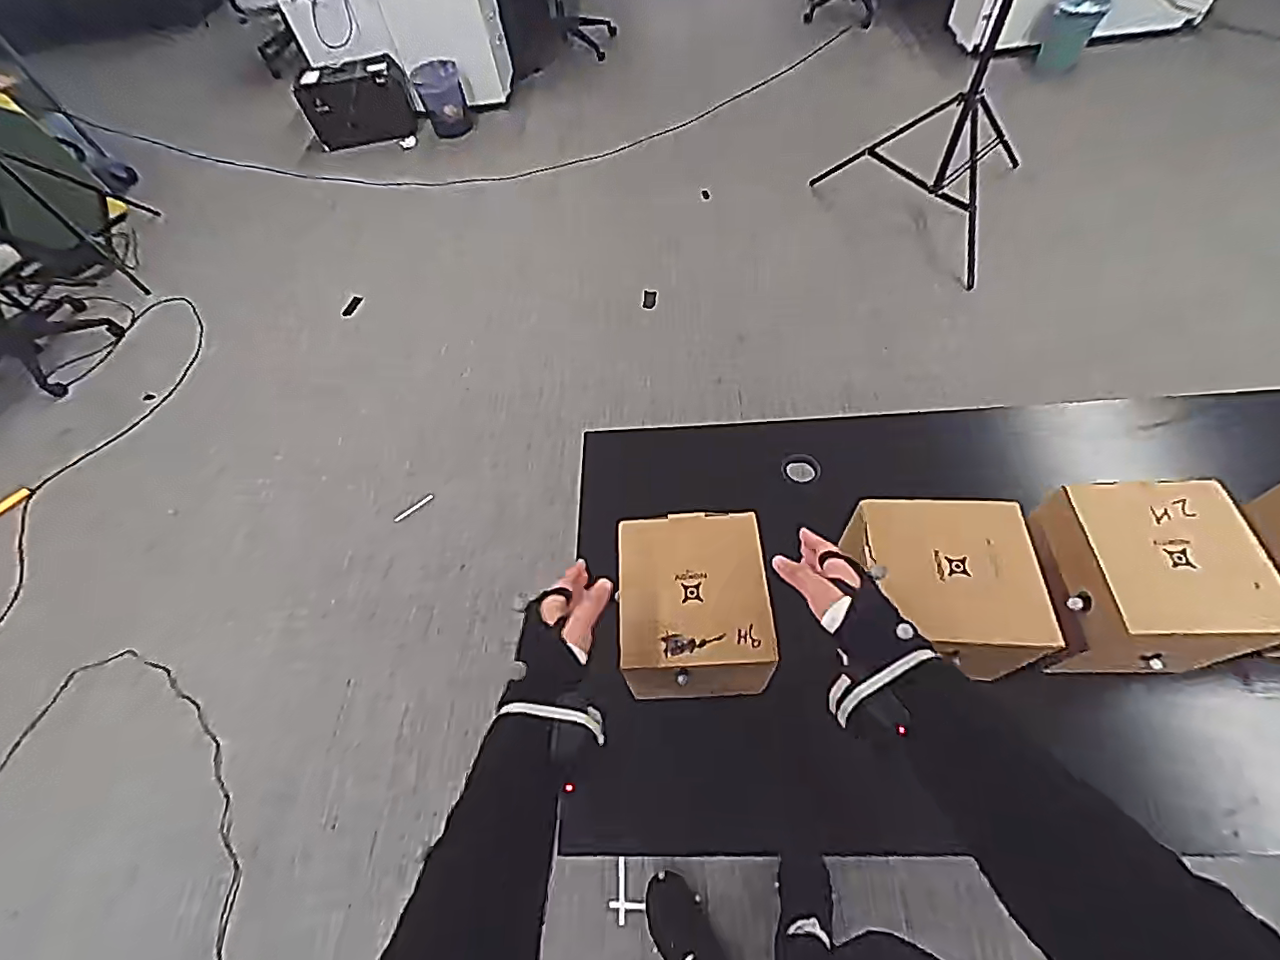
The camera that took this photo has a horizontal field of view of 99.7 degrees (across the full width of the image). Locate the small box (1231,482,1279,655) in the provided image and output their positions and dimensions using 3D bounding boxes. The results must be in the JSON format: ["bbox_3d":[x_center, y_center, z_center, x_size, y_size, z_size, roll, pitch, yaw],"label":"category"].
[{"bbox_3d":[0.831,0.103,0.628,0.179,0.176,0.168,-1,58,5],"label":"small box"}]

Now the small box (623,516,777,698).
[{"bbox_3d":[0.069,0.164,0.679,0.168,0.176,0.179,-4,58,4],"label":"small box"}]

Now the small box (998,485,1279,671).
[{"bbox_3d":[0.572,0.123,0.646,0.168,0.176,0.179,-2,58,5],"label":"small box"}]
